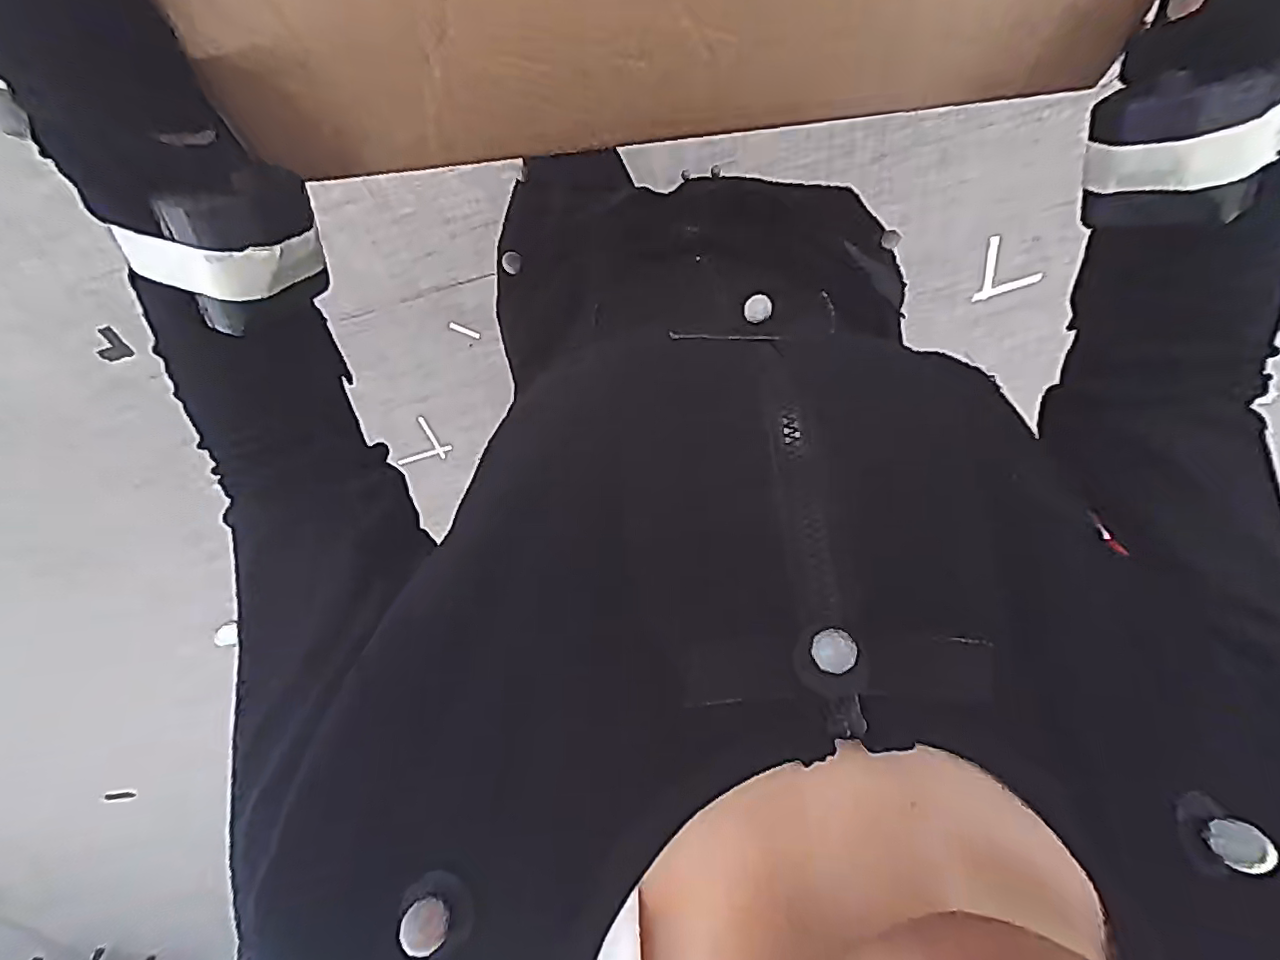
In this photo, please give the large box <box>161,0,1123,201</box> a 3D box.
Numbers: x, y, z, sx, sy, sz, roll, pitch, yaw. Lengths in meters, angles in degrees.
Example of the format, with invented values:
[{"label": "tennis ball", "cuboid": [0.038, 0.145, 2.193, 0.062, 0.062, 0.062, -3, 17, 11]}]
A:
[{"label": "large box", "cuboid": [-0.001, -0.366, 0.198, 0.408, 0.320, 0.320, -8, 157, -1]}]
